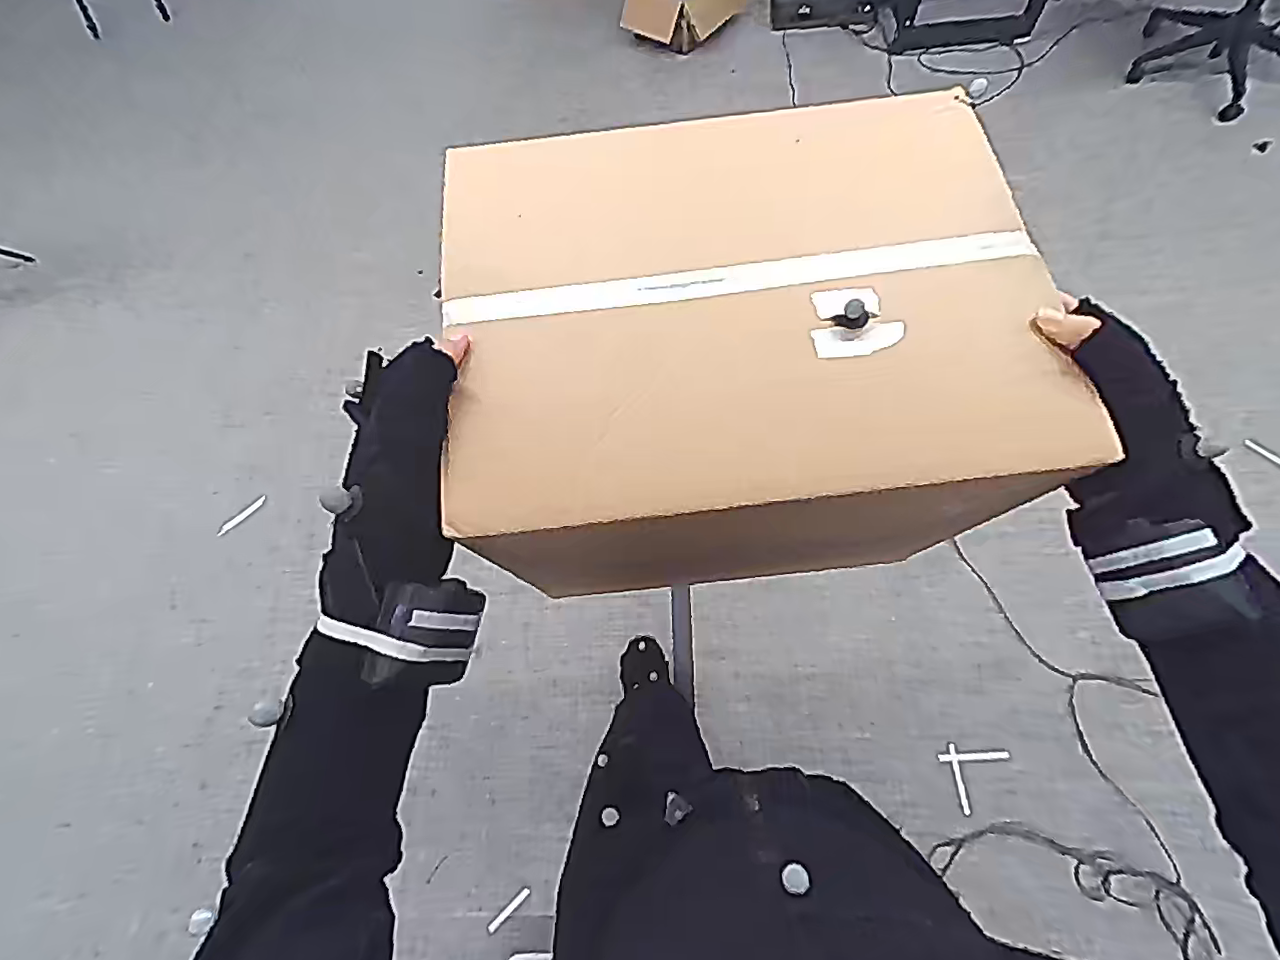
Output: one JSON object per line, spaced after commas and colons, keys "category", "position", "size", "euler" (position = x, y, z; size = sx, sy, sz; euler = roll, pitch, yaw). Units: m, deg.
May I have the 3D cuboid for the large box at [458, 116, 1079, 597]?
{"category": "large box", "position": [0.070, -0.082, 0.530], "size": [0.408, 0.320, 0.320], "euler": [-7, 71, 0]}
